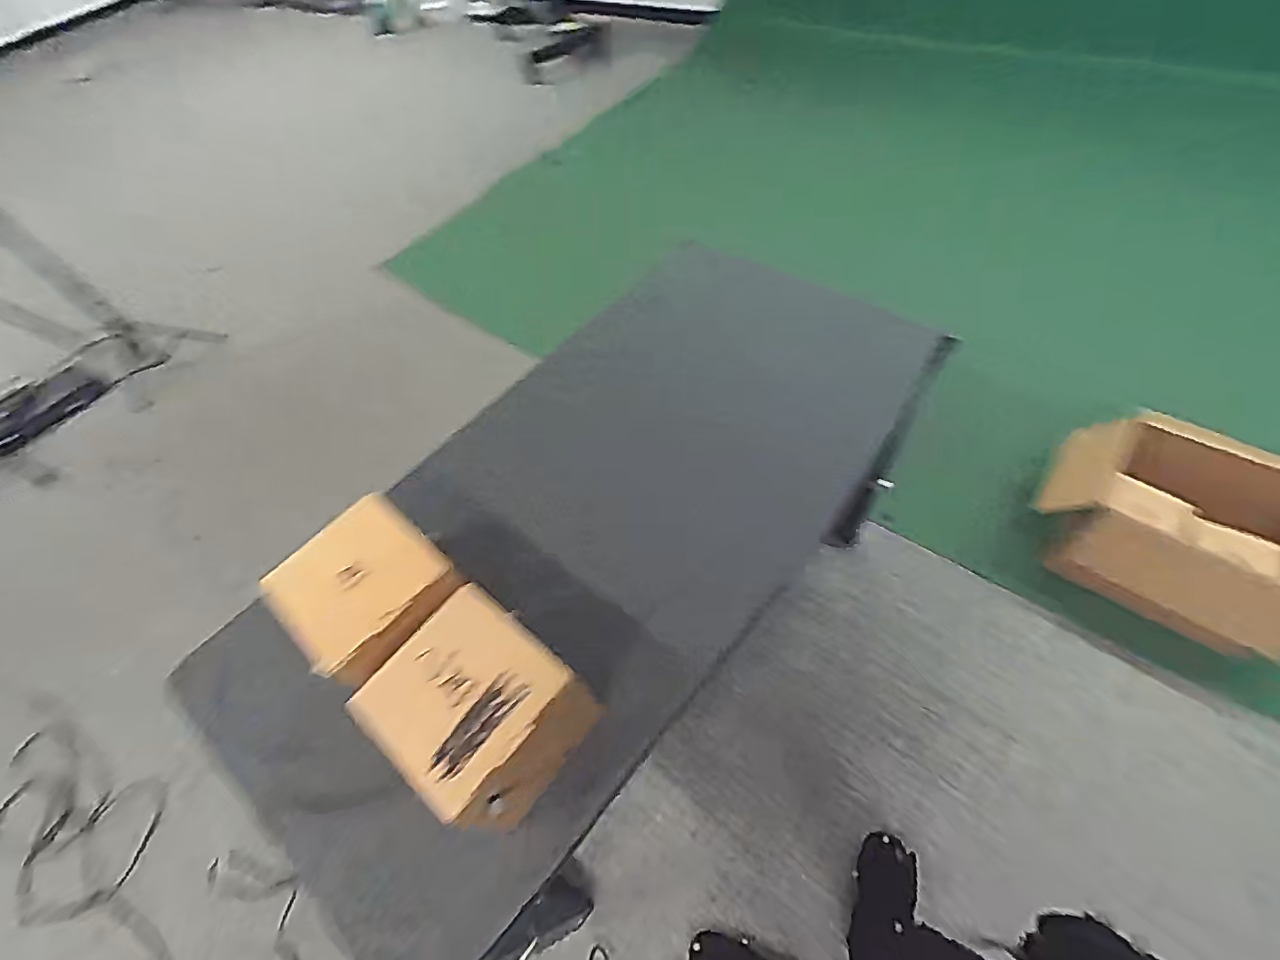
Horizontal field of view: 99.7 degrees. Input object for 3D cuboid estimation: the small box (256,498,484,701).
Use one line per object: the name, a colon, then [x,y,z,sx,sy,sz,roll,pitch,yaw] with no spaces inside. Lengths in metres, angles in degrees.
small box: [-0.341,0.162,0.712,0.179,0.176,0.168,33,67,25]
